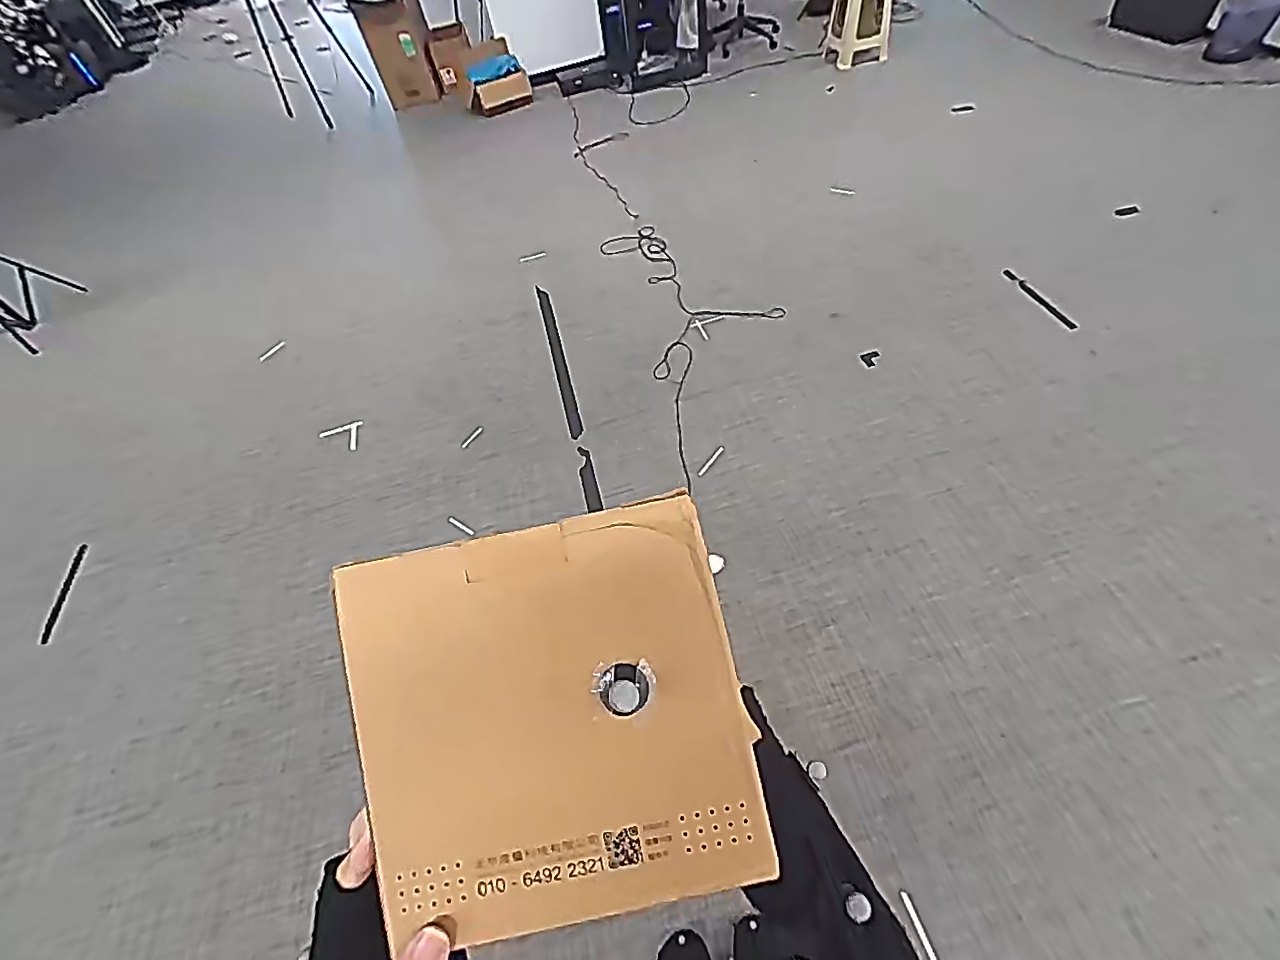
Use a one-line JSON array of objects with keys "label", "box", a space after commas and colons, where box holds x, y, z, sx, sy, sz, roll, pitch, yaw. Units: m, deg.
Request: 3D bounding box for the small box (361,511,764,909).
[{"label": "small box", "box": [-0.033, 0.120, 0.331, 0.168, 0.179, 0.176, -12, 85, 1]}]
